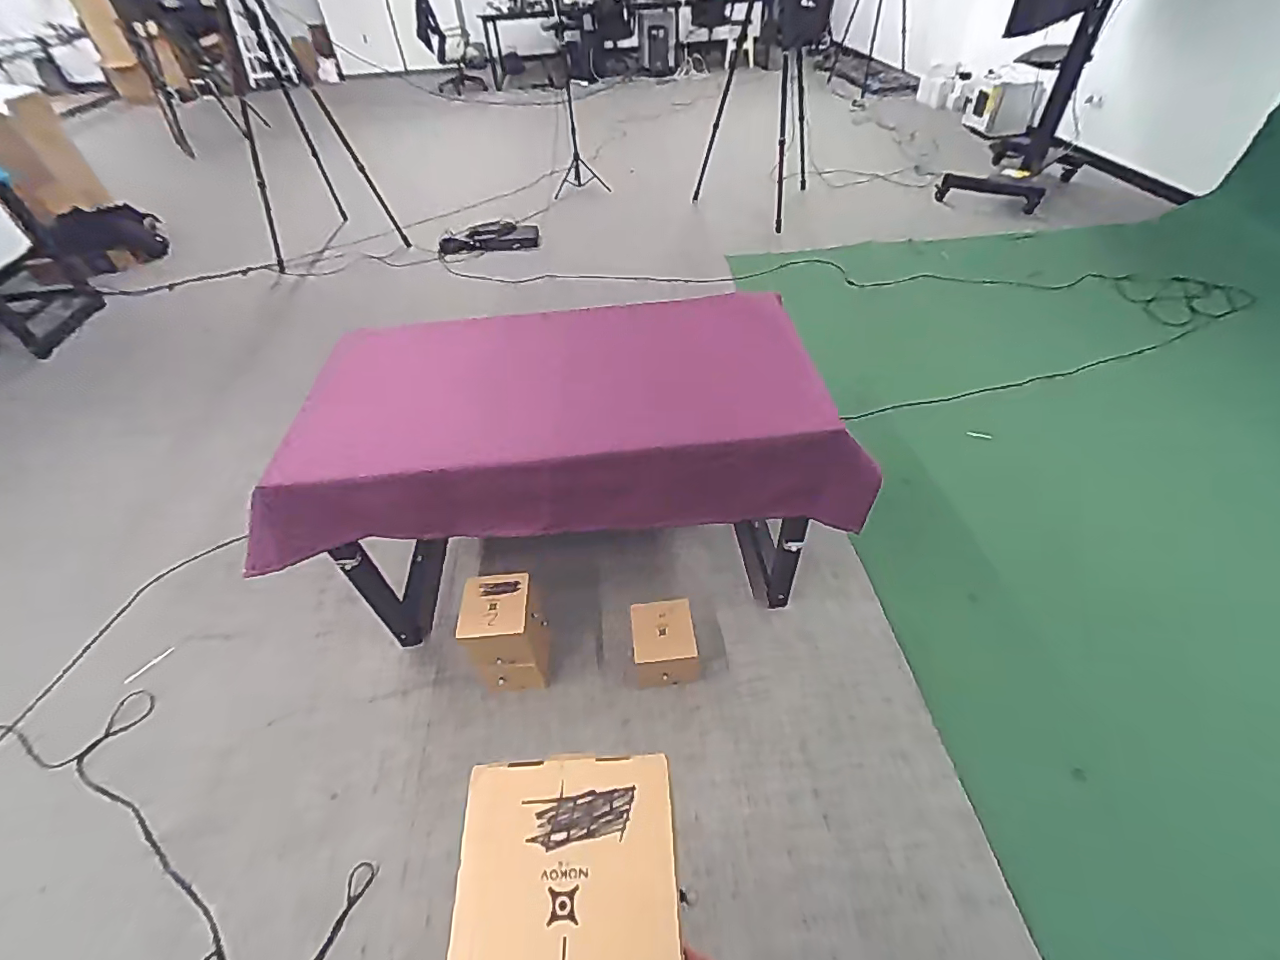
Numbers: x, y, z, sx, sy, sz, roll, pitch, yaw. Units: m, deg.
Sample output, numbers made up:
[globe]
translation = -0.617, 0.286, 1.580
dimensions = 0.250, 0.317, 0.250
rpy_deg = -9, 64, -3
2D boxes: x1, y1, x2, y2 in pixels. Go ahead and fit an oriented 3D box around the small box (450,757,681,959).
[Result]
[small box]
translation = -0.051, 0.356, 0.473
dimensions = 0.168, 0.176, 0.179
rpy_deg = -4, 54, 2
